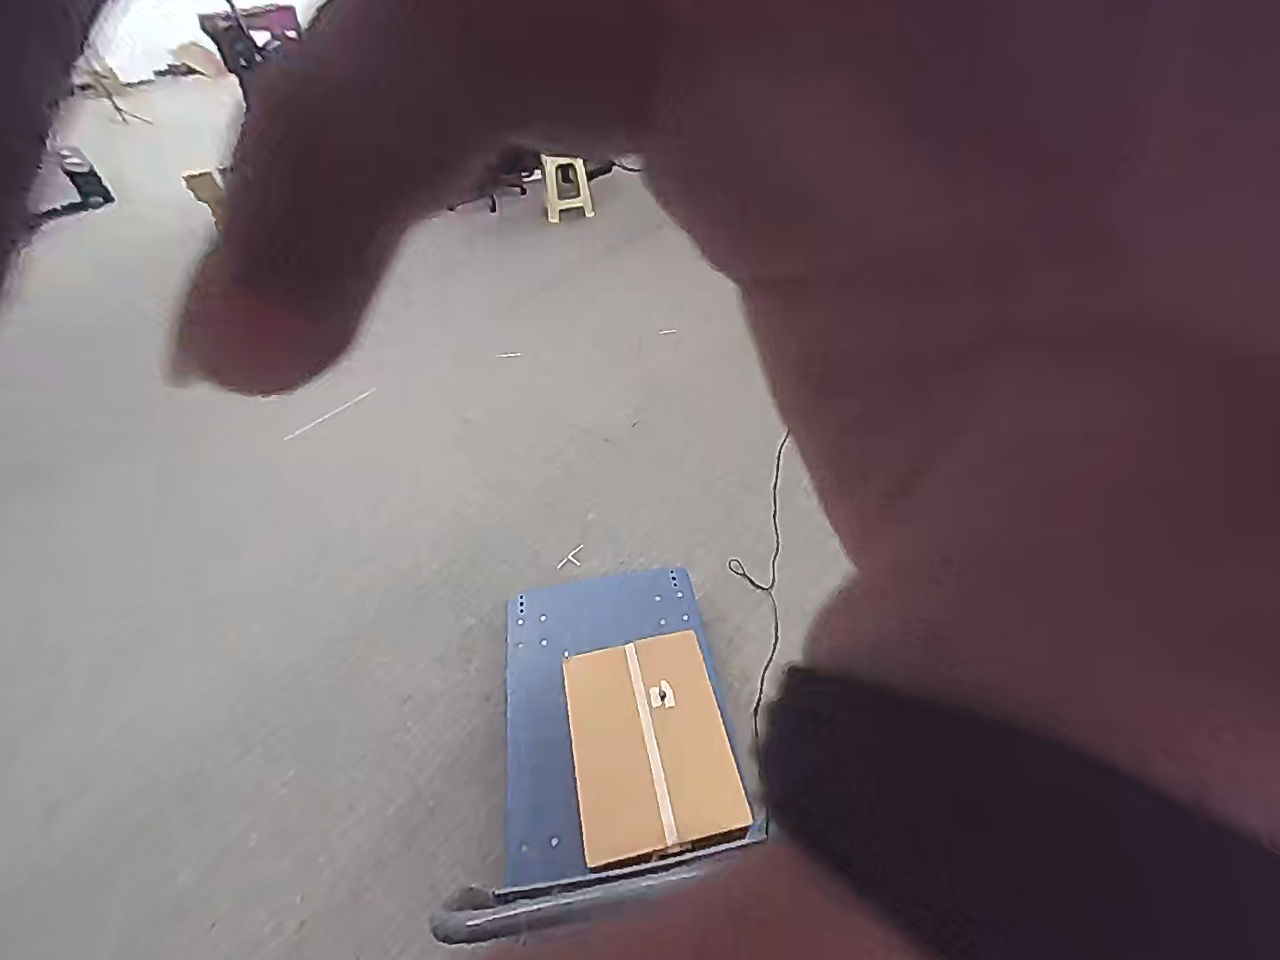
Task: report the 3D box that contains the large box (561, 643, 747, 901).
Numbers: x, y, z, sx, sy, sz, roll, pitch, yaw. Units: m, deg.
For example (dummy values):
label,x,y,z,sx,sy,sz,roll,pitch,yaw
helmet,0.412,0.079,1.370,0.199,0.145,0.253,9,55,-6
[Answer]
label,x,y,z,sx,sy,sz,roll,pitch,yaw
large box,0.017,0.652,1.227,0.320,0.320,0.408,-10,46,-7
